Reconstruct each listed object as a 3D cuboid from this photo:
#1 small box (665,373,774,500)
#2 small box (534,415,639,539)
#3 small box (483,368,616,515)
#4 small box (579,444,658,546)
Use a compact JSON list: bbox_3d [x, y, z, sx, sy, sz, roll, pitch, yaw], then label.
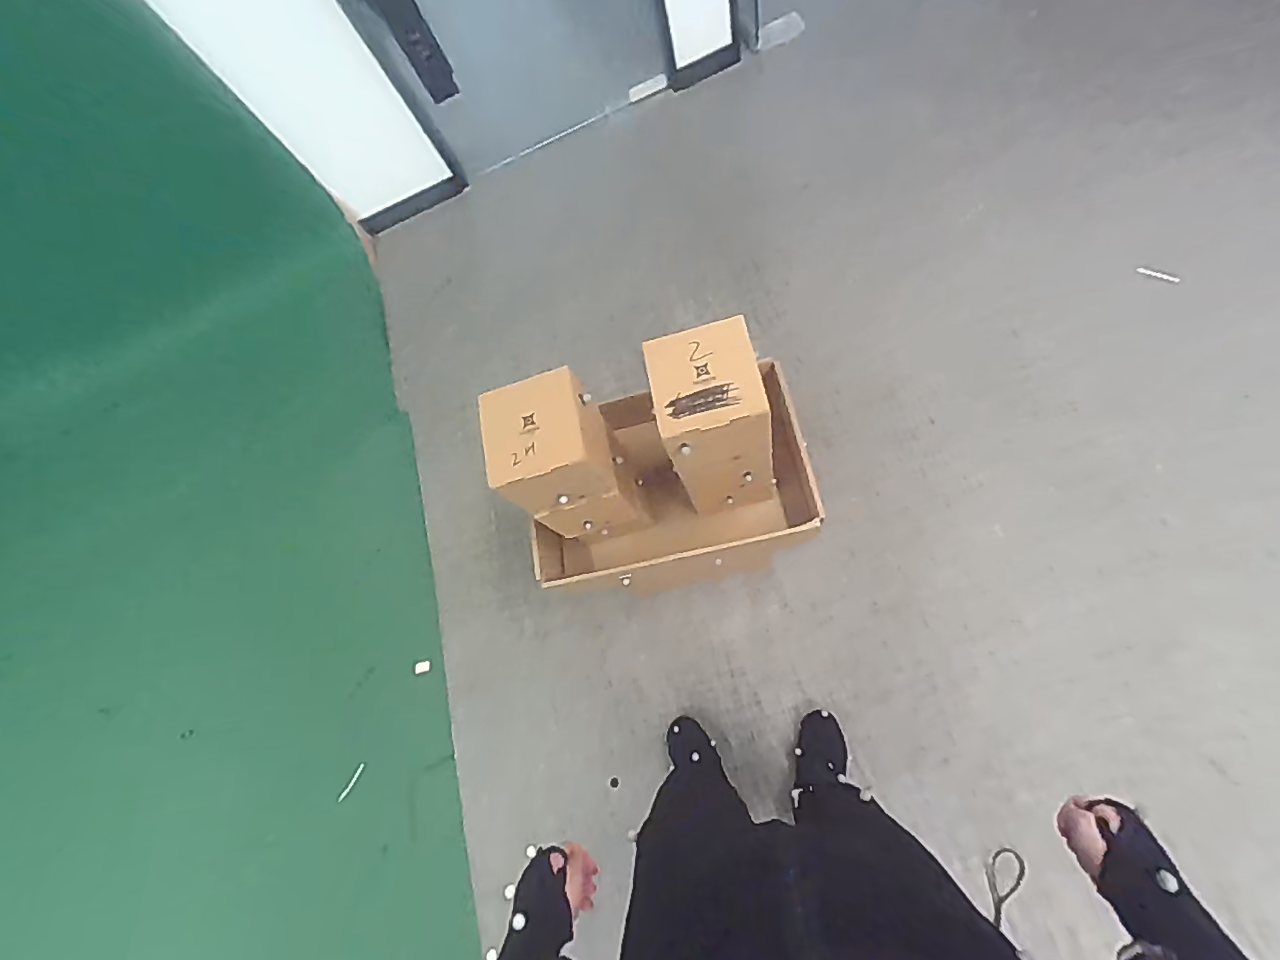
[{"bbox_3d":[0.156,-0.071,1.032,0.168,0.176,0.179,-14,67,9],"label":"small box"},{"bbox_3d":[-0.112,0.001,1.080,0.168,0.176,0.179,-16,68,9],"label":"small box"},{"bbox_3d":[-0.152,-0.058,0.931,0.168,0.176,0.179,-16,68,9],"label":"small box"},{"bbox_3d":[-0.072,0.042,1.233,0.179,0.176,0.168,-15,68,8],"label":"small box"}]
